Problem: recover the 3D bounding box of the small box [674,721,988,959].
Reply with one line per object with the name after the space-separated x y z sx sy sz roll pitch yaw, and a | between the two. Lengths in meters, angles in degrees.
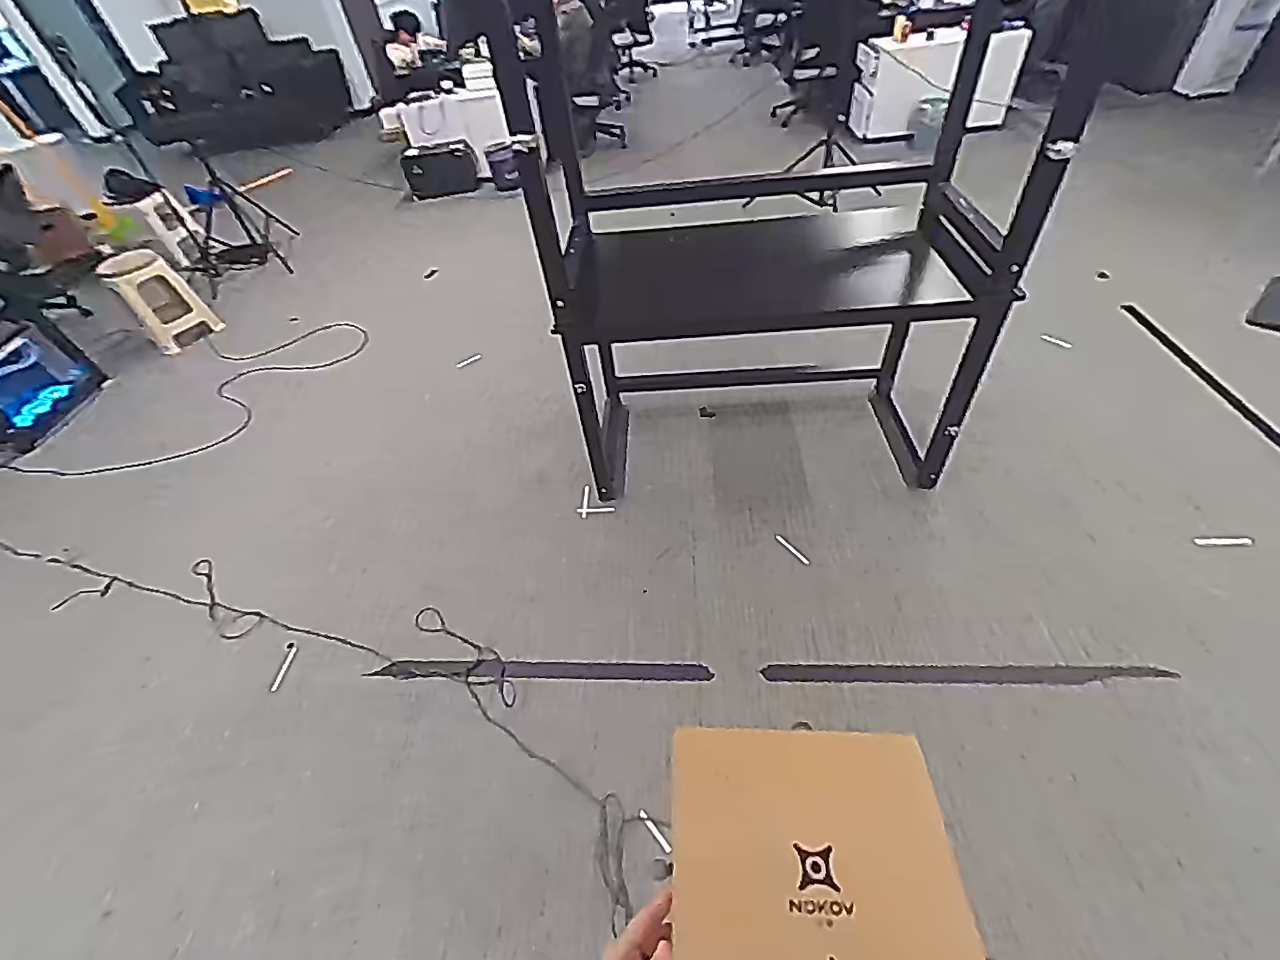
0.108 0.288 0.367 0.168 0.176 0.179 0 45 5 | small box
